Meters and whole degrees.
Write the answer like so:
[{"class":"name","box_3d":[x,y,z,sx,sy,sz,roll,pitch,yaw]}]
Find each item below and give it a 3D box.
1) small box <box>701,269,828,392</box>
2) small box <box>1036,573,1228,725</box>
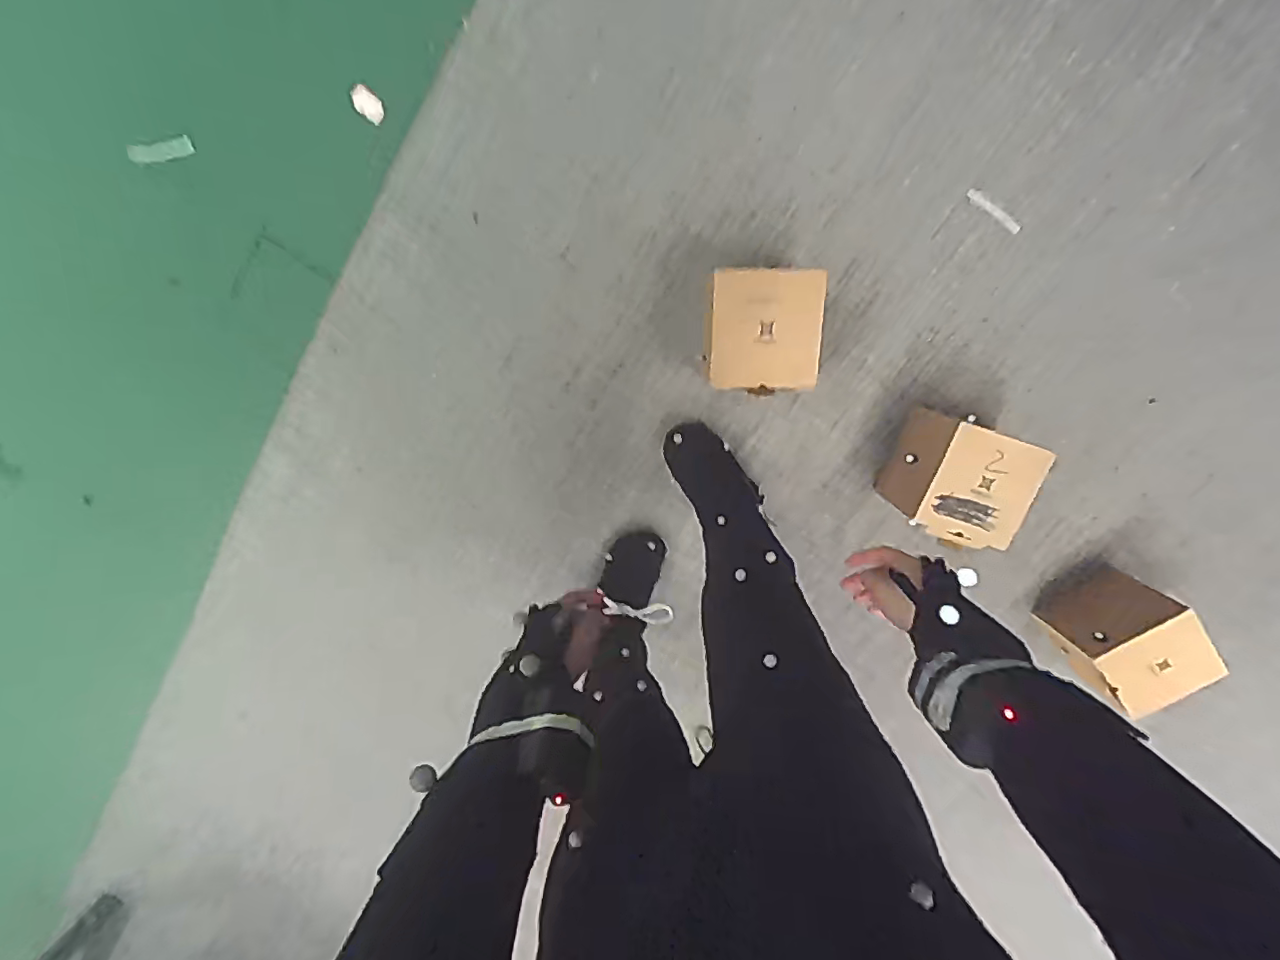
[{"class":"small box","box_3d":[0.190,-0.241,0.874,0.168,0.176,0.179,0,106,1]},{"class":"small box","box_3d":[0.903,0.306,1.009,0.179,0.176,0.168,-36,102,12]}]
